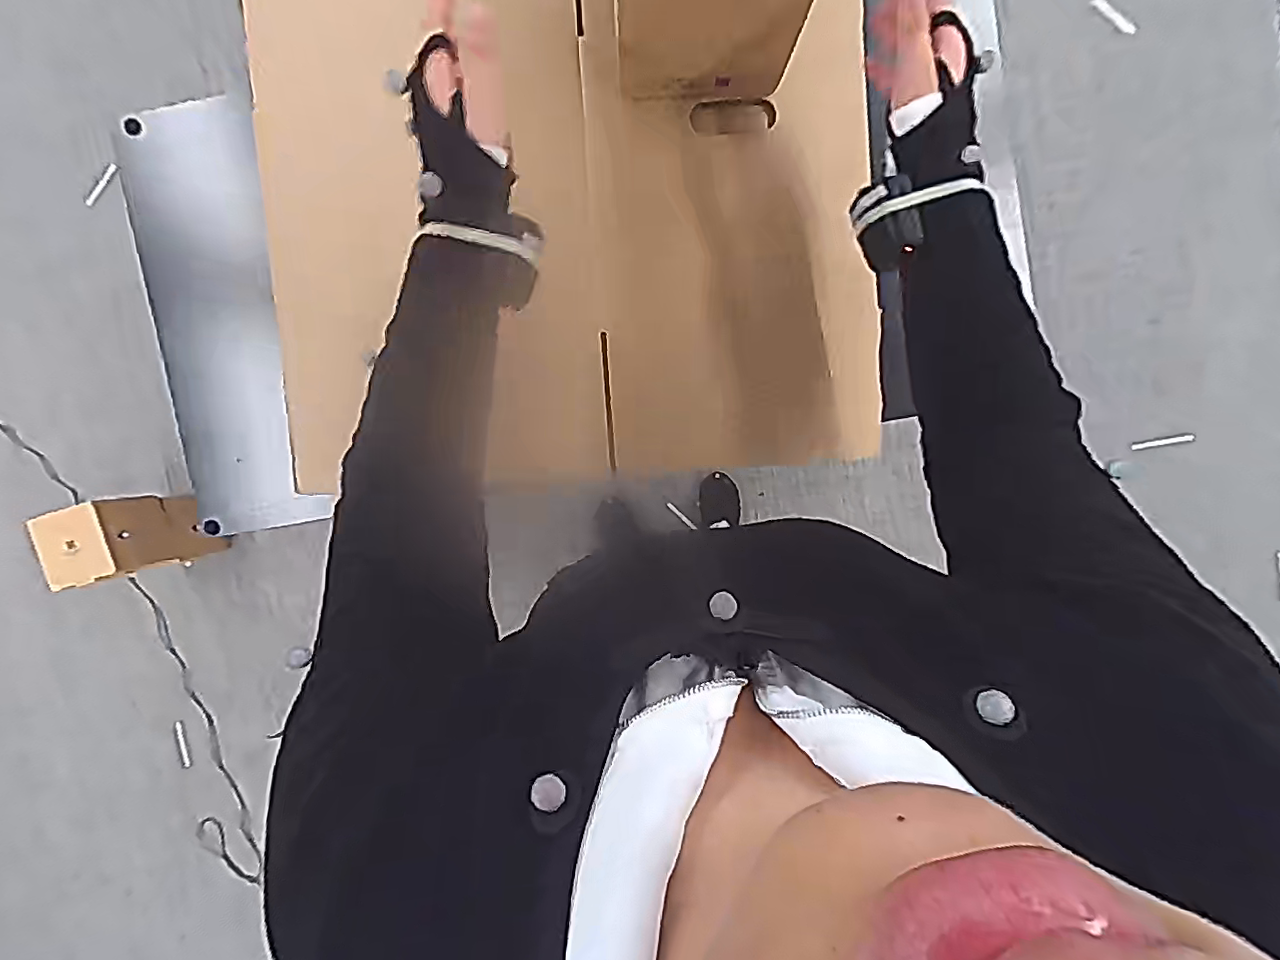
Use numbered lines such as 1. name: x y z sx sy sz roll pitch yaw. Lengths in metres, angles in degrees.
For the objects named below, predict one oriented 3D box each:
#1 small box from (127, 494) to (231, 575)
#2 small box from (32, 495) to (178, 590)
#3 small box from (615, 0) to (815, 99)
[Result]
1. small box: -1.273 0.140 1.473 0.168 0.176 0.179 -14 94 3
2. small box: -1.282 0.145 1.310 0.168 0.176 0.179 -17 92 2
3. small box: 0.060 -0.479 0.475 0.168 0.176 0.179 -3 92 -1
